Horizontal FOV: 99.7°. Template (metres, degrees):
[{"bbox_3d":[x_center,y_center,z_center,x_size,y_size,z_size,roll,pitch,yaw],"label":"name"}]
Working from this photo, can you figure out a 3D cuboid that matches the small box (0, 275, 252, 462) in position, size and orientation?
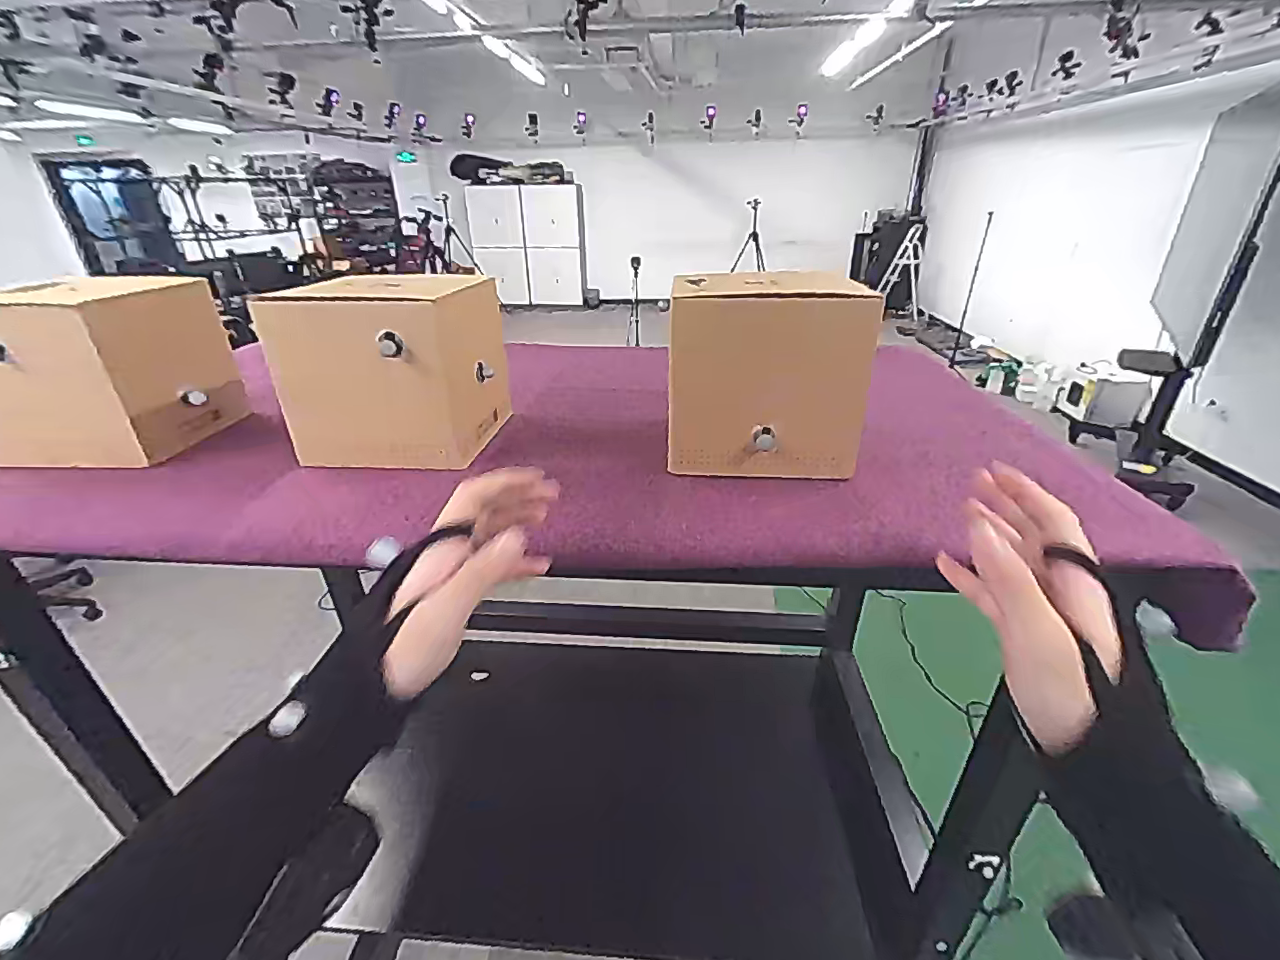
[{"bbox_3d":[-0.586,-0.127,0.598,0.179,0.176,0.168,1,28,1],"label":"small box"}]

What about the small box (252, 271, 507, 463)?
[{"bbox_3d":[-0.255,-0.125,0.583,0.179,0.176,0.168,1,26,5],"label":"small box"}]

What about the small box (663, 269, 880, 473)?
[{"bbox_3d":[0.116,-0.115,0.549,0.179,0.176,0.168,2,26,5],"label":"small box"}]
